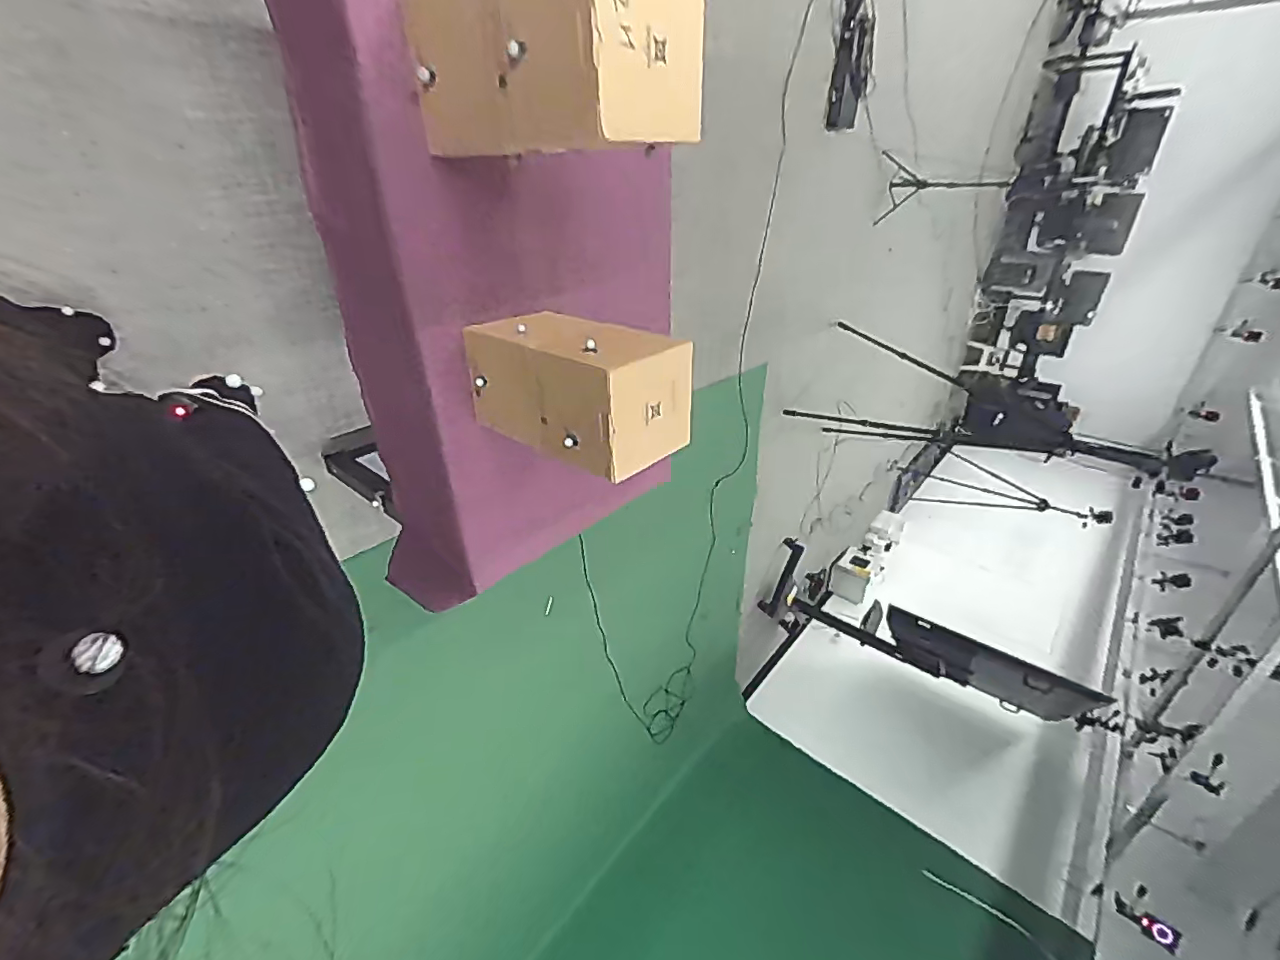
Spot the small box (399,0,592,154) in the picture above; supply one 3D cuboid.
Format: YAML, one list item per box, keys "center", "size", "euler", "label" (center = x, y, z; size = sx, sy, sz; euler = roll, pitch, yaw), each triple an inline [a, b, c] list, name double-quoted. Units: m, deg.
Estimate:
- center: [-0.180, -0.528, 0.700]
  size: [0.168, 0.176, 0.179]
  euler: [-33, 134, -39]
  label: "small box"

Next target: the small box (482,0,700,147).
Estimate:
- center: [-0.051, -0.477, 0.608]
  size: [0.179, 0.176, 0.168]
  euler: [-31, 131, -40]
  label: "small box"

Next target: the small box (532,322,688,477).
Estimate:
- center: [-0.047, -0.130, 0.812]
  size: [0.179, 0.176, 0.168]
  euler: [-31, 132, -41]
  label: "small box"
